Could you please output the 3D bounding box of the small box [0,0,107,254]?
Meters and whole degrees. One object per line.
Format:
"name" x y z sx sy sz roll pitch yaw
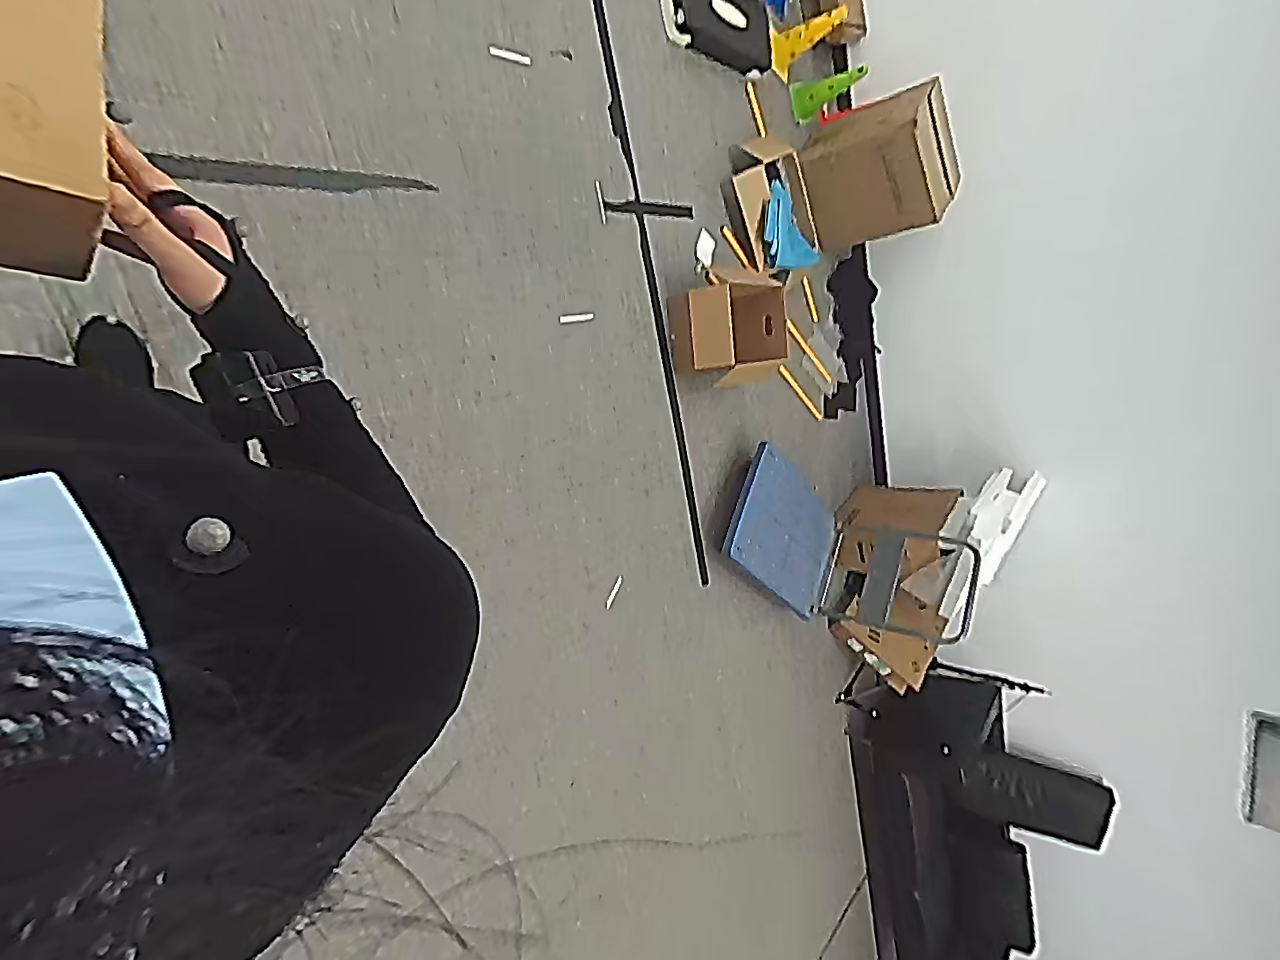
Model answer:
"small box" -0.408 -0.246 0.290 0.168 0.176 0.179 -2 89 -50
